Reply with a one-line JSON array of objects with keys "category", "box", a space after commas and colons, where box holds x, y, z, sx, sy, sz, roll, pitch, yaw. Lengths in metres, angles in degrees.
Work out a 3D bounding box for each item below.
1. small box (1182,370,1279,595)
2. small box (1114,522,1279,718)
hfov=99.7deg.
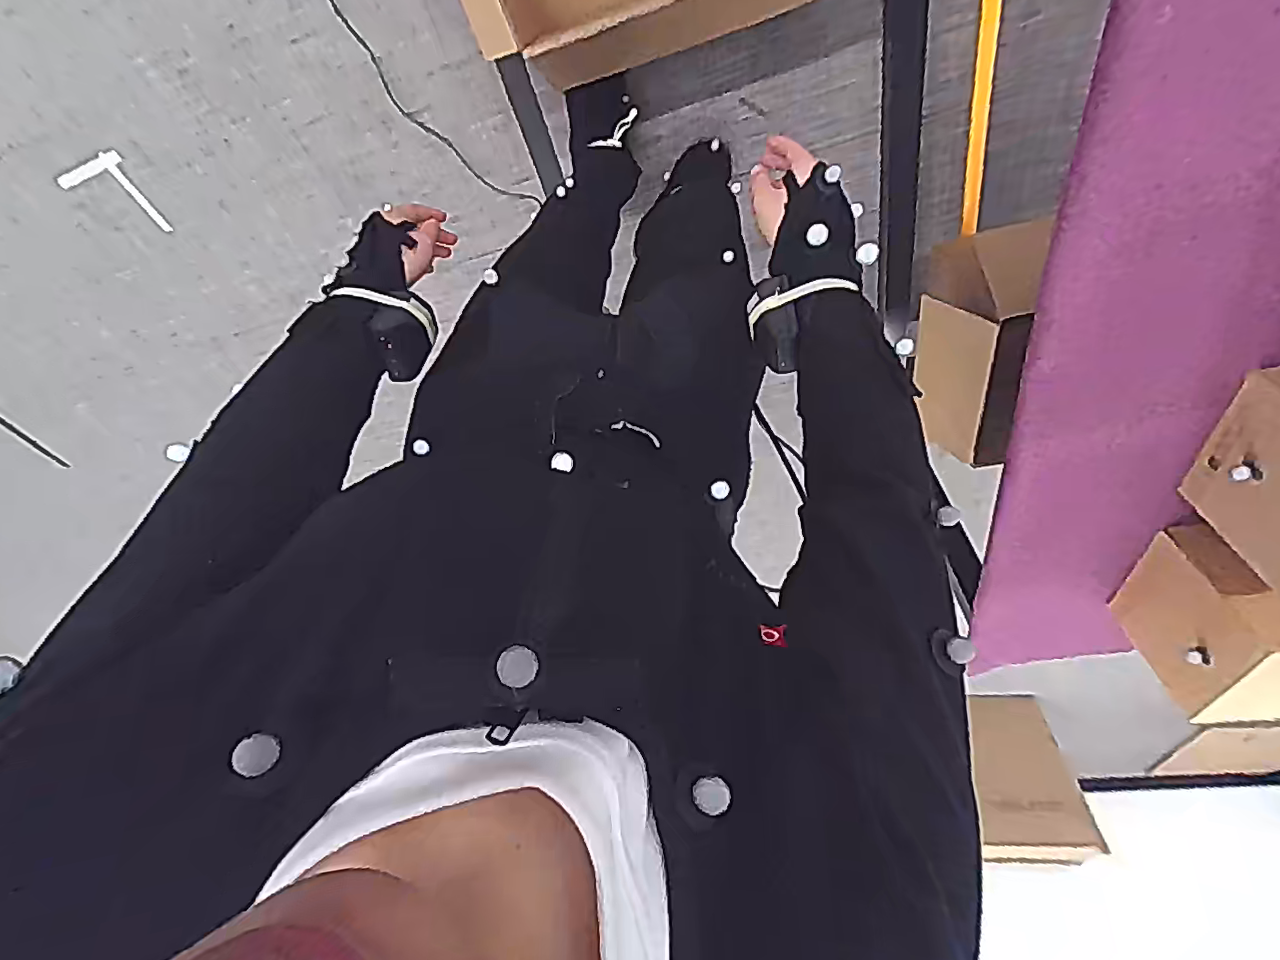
[{"category": "small box", "box": [0.669, -0.003, 0.483, 0.179, 0.176, 0.168, -8, 133, 11]}, {"category": "small box", "box": [0.727, 0.164, 0.647, 0.168, 0.176, 0.179, -7, 133, 8]}]
